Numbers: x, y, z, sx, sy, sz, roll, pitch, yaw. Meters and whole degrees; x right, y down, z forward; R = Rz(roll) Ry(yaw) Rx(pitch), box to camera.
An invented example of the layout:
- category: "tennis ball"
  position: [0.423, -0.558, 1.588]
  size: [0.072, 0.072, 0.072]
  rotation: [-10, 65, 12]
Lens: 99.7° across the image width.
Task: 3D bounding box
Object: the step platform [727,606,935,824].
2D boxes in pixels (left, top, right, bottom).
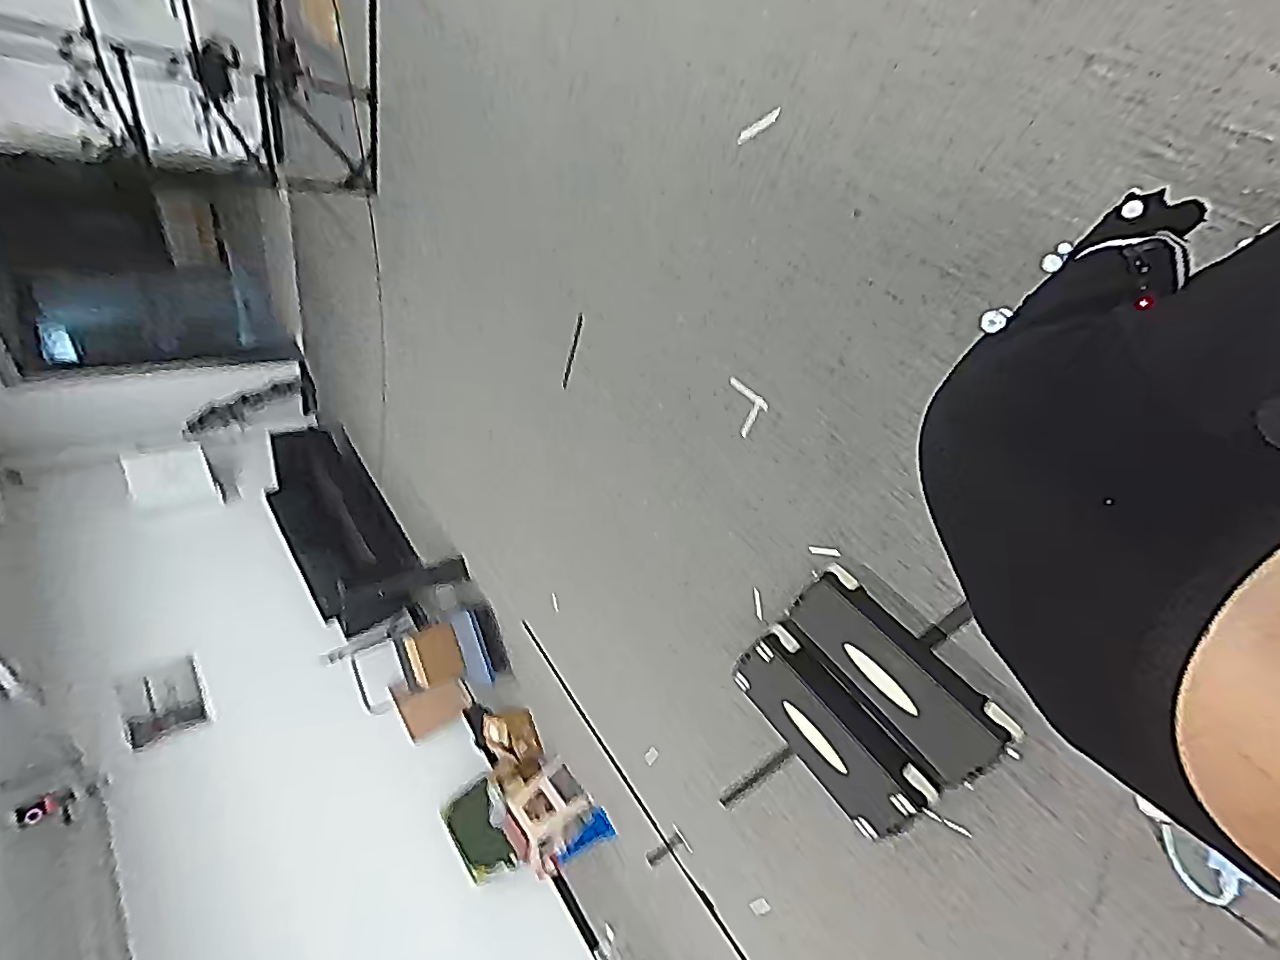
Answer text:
- category: "step platform"
  position: [0.609, 0.774, 1.824]
  size: [0.684, 0.204, 0.286]
  rotation: [47, 135, 29]
